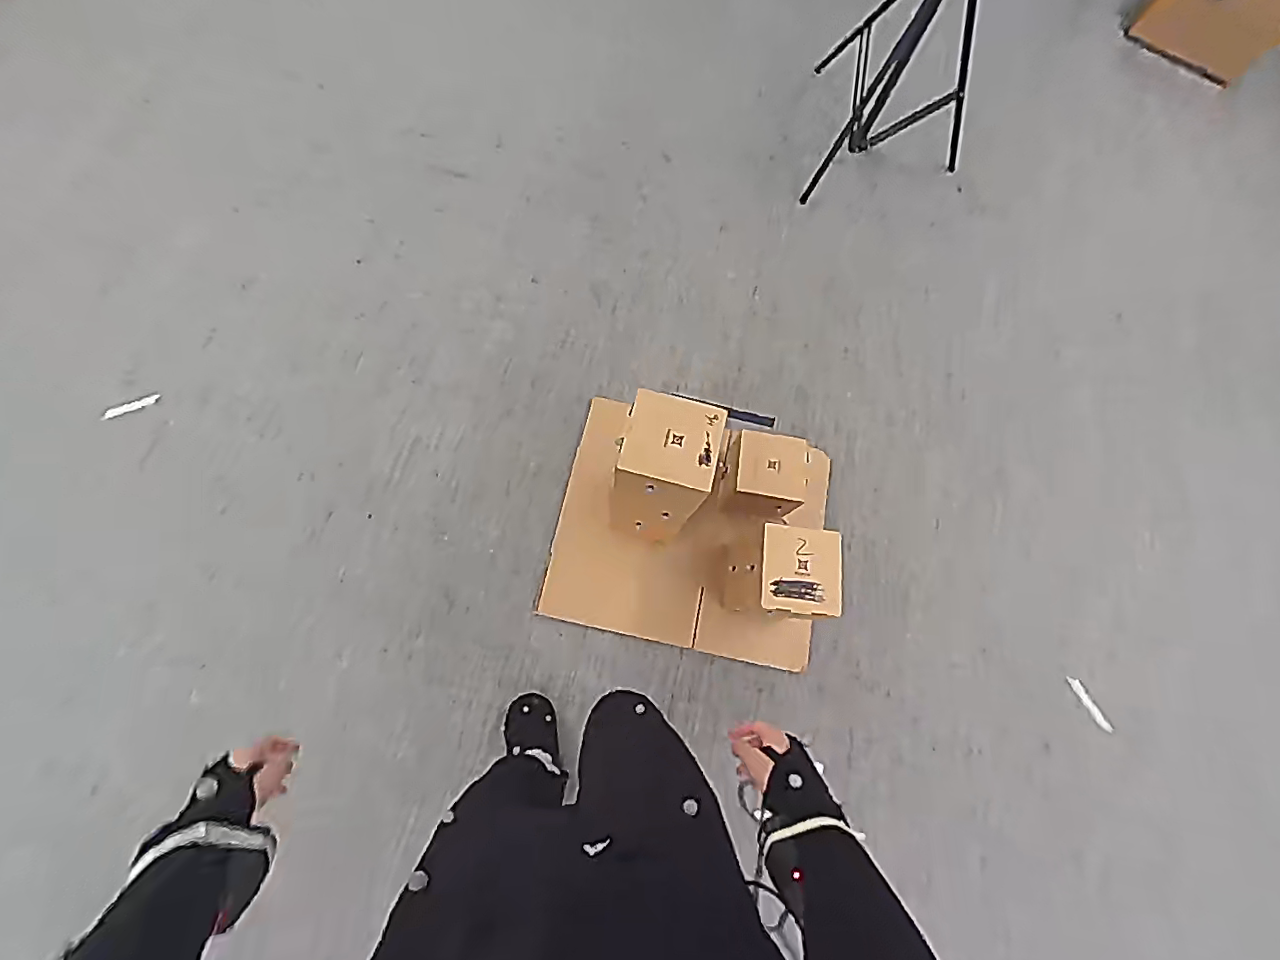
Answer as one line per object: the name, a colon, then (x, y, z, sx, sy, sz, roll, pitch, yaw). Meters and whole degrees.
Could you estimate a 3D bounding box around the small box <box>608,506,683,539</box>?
small box: (0.026, 0.043, 1.356, 0.179, 0.176, 0.168, 16, 73, 1)

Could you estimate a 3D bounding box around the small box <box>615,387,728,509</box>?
small box: (0.055, -0.053, 1.043, 0.179, 0.176, 0.168, 14, 74, 1)

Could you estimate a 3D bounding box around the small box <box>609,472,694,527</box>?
small box: (0.039, -0.004, 1.199, 0.179, 0.176, 0.168, 17, 73, 1)

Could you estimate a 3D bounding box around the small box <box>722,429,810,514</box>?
small box: (0.322, -0.014, 1.402, 0.179, 0.176, 0.168, 9, 72, -2)

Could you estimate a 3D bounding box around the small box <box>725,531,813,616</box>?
small box: (0.310, 0.236, 1.327, 0.168, 0.176, 0.179, 9, 73, -3)
